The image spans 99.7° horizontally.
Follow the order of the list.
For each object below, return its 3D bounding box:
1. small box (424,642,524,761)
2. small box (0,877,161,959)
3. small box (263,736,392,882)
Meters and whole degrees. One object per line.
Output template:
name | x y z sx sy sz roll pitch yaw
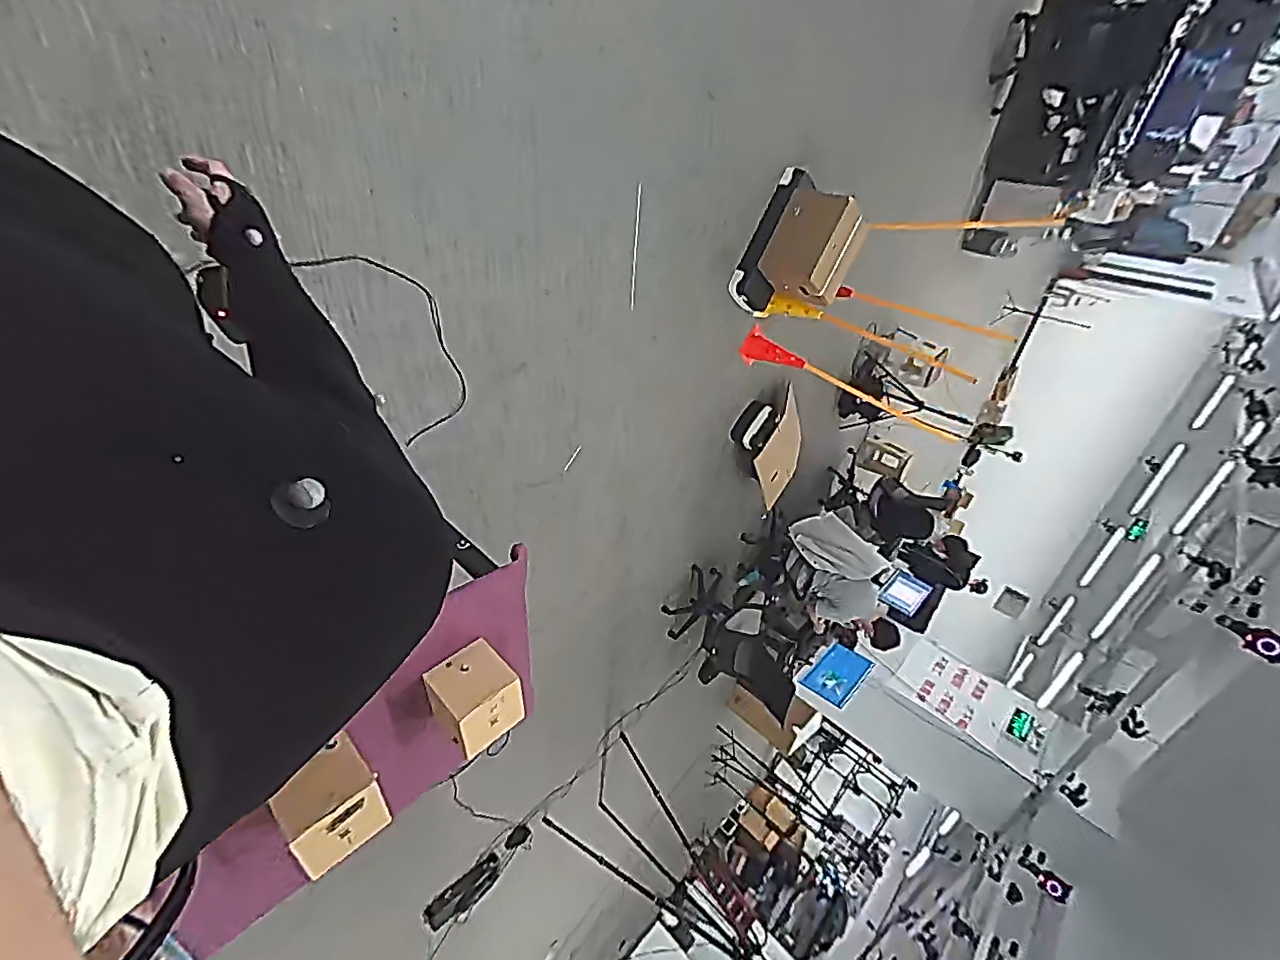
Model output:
small box | -0.408 0.540 1.339 0.168 0.176 0.179 -30 136 -37
small box | -0.919 0.812 0.880 0.179 0.176 0.168 -27 135 -39
small box | -0.649 0.672 1.127 0.168 0.176 0.179 -28 136 -38
